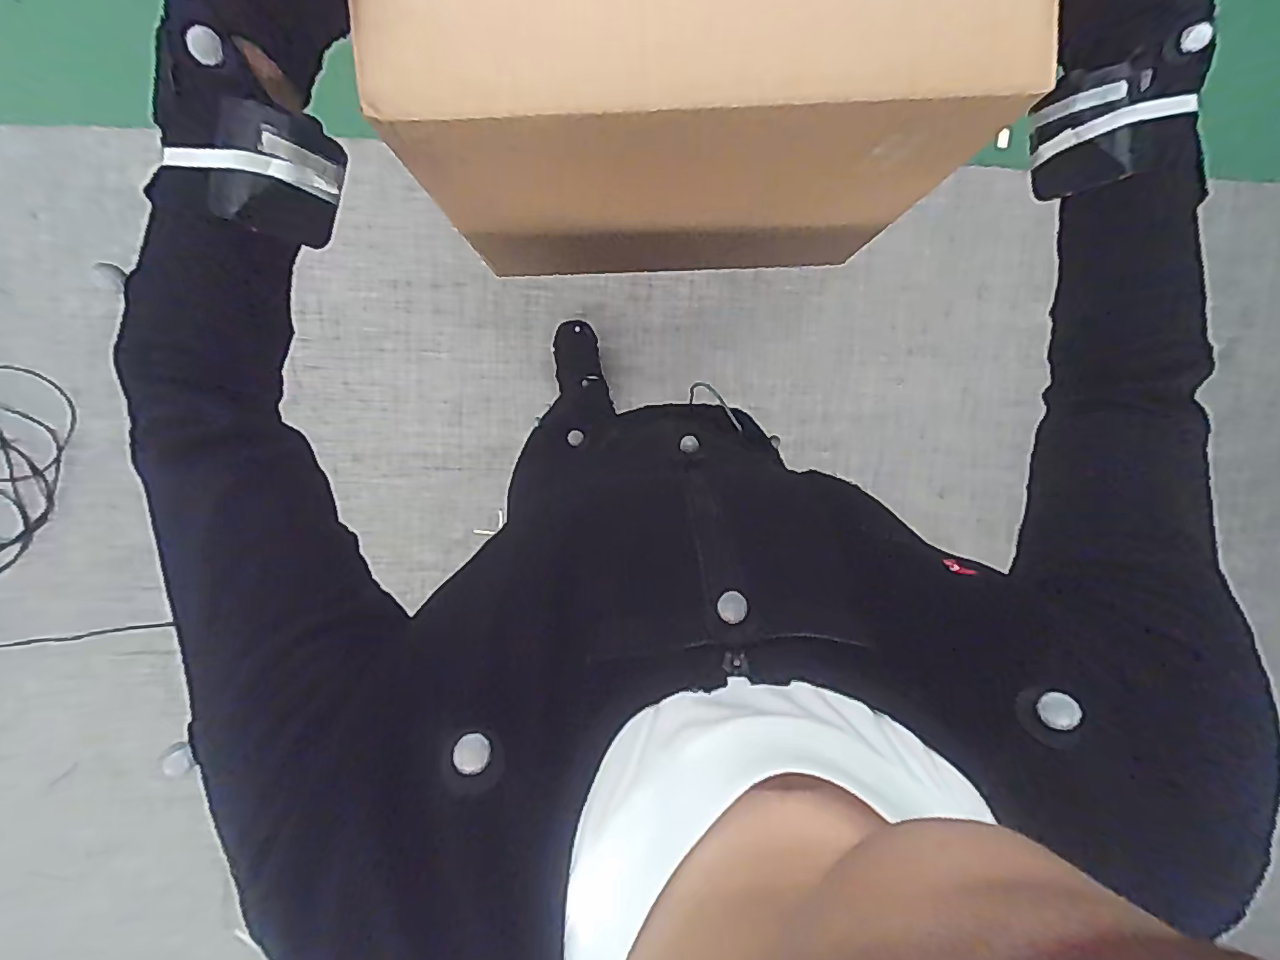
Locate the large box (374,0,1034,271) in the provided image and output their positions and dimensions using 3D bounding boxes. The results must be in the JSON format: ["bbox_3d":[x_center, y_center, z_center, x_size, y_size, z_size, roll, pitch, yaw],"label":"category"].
[{"bbox_3d":[0.030,-0.392,0.465,0.408,0.320,0.320,-3,95,0],"label":"large box"}]
